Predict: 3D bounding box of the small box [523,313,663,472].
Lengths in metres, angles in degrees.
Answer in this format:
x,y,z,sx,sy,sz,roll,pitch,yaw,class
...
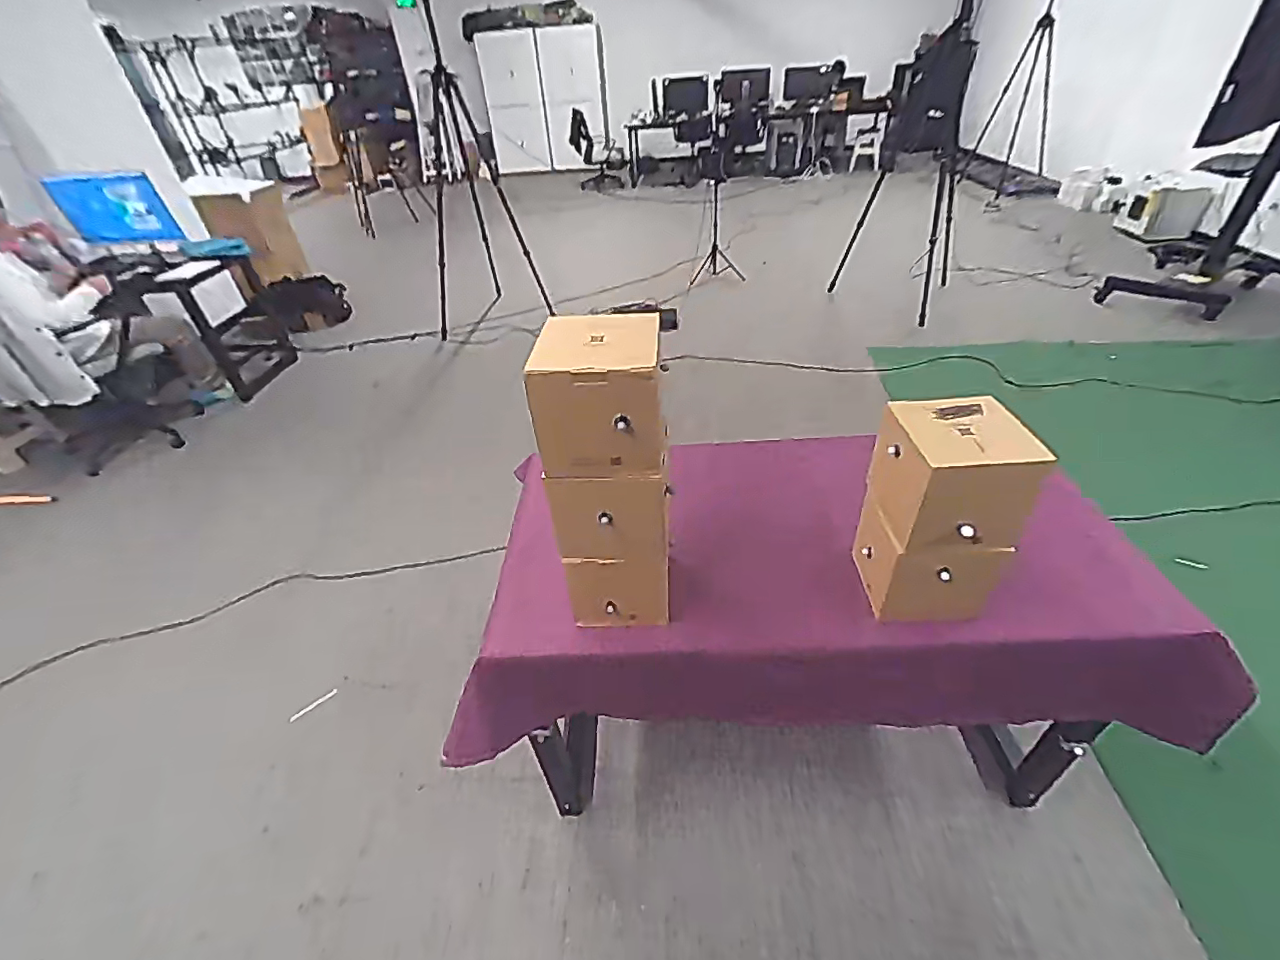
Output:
x,y,z,sx,sy,sz,roll,pitch,yaw,class
-0.053,-0.123,0.774,0.168,0.176,0.179,0,38,5,small box

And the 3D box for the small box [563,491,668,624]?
x,y,z,sx,sy,sz,roll,pitch,yaw,class
-0.035,0.137,0.973,0.168,0.176,0.179,-1,39,4,small box

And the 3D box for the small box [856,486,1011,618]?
x,y,z,sx,sy,sz,roll,pitch,yaw,class
0.485,0.122,0.930,0.179,0.176,0.168,-1,39,5,small box

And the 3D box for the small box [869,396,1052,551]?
x,y,z,sx,sy,sz,roll,pitch,yaw,class
0.473,-0.012,0.835,0.168,0.176,0.179,-4,39,3,small box
